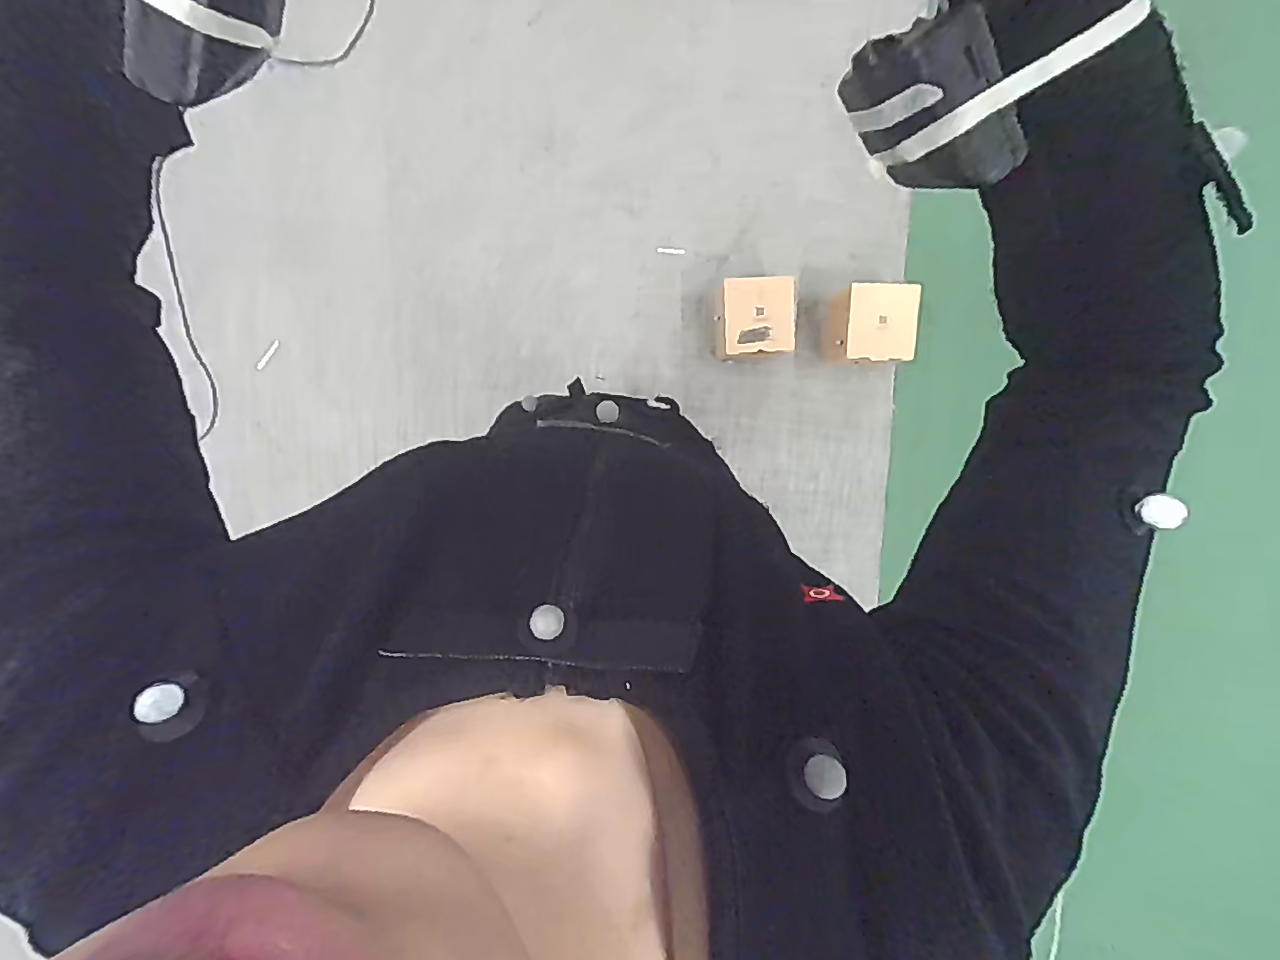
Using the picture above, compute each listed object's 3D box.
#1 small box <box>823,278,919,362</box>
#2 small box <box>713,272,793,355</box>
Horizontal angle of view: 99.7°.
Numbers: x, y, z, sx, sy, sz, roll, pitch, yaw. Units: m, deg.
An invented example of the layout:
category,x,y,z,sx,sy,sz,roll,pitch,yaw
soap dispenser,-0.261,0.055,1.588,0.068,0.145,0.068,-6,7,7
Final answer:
category,x,y,z,sx,sy,sz,roll,pitch,yaw
small box,0.568,-0.392,1.347,0.168,0.176,0.179,1,98,0
small box,0.275,-0.404,1.339,0.168,0.176,0.179,-3,97,-1
